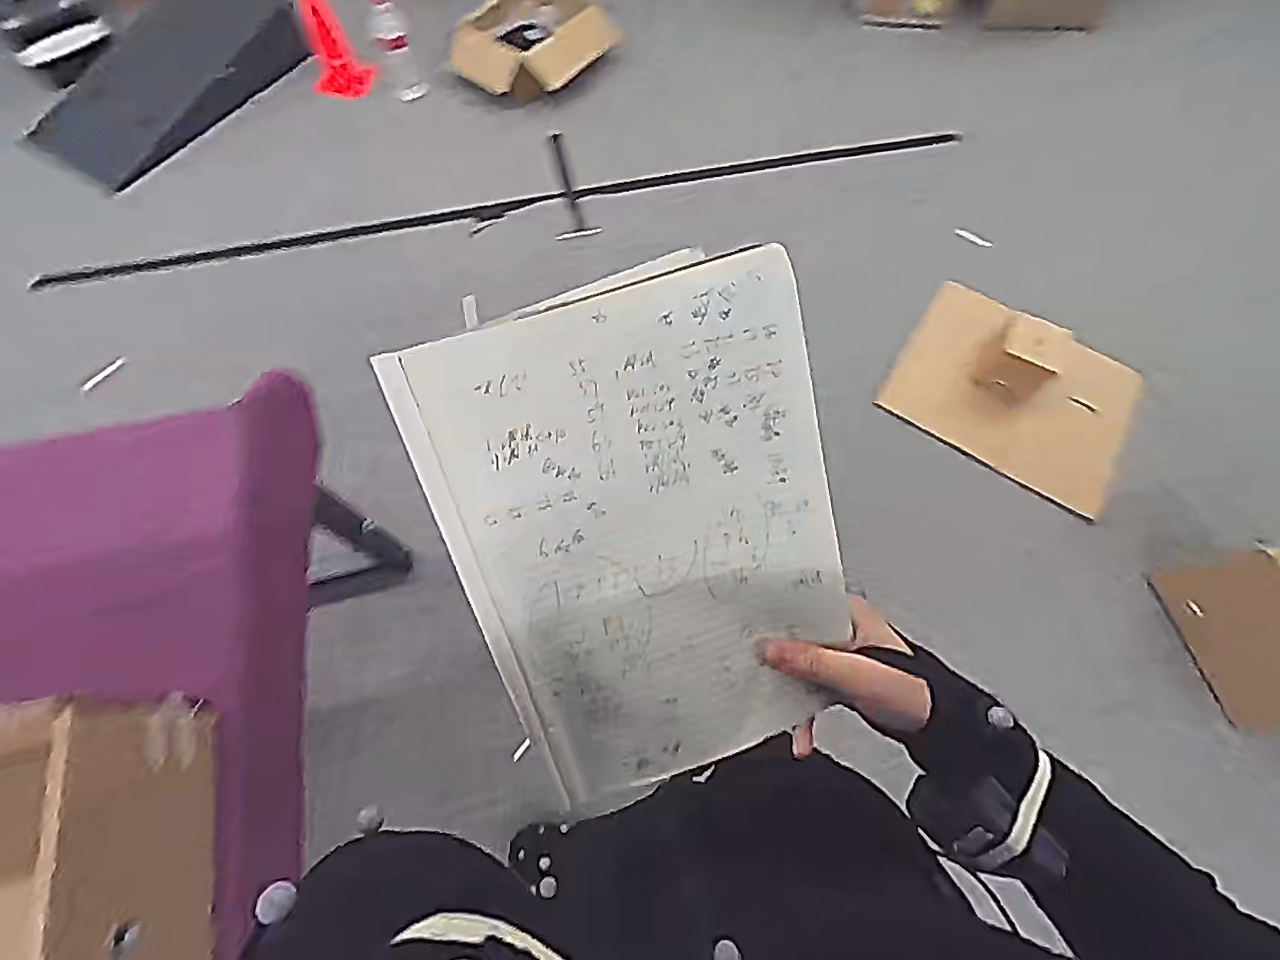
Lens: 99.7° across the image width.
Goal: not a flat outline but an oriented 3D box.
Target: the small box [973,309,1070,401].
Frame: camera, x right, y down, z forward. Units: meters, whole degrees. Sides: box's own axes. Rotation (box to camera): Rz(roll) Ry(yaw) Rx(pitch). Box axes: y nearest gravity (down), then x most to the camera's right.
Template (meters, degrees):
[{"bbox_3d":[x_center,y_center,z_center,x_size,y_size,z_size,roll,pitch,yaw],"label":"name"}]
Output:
[{"bbox_3d":[1.154,-0.376,1.646,0.168,0.176,0.179,26,70,8],"label":"small box"}]
